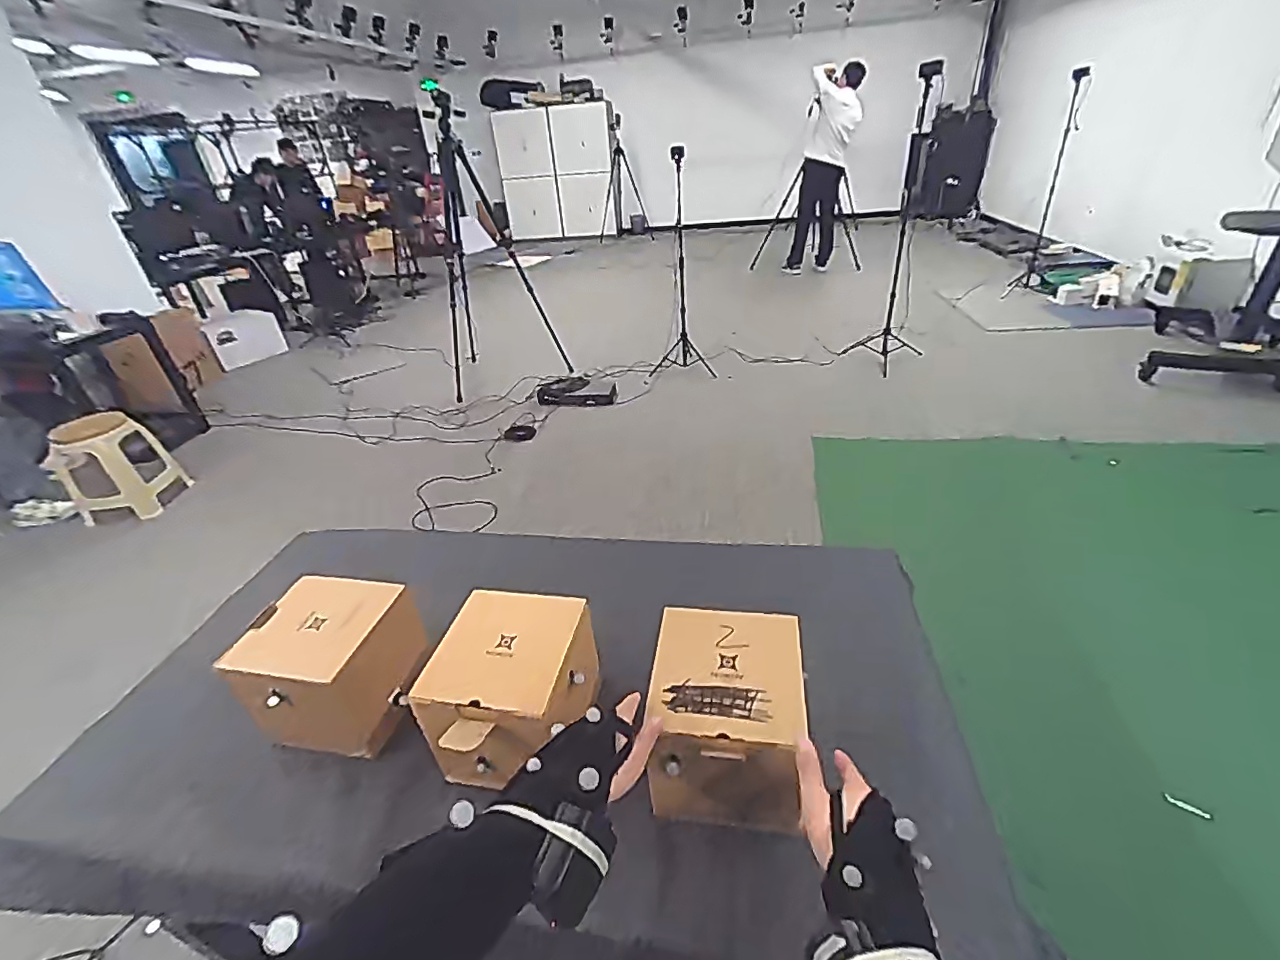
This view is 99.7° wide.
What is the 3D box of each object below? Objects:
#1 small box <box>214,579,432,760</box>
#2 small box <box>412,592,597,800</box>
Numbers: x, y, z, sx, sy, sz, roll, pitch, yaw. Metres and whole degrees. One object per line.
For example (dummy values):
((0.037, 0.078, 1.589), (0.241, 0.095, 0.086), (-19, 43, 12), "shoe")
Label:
((-0.421, 0.261, 0.755), (0.179, 0.176, 0.168), (4, 34, 12), "small box")
((-0.157, 0.272, 0.699), (0.168, 0.176, 0.179), (2, 33, 11), "small box")
